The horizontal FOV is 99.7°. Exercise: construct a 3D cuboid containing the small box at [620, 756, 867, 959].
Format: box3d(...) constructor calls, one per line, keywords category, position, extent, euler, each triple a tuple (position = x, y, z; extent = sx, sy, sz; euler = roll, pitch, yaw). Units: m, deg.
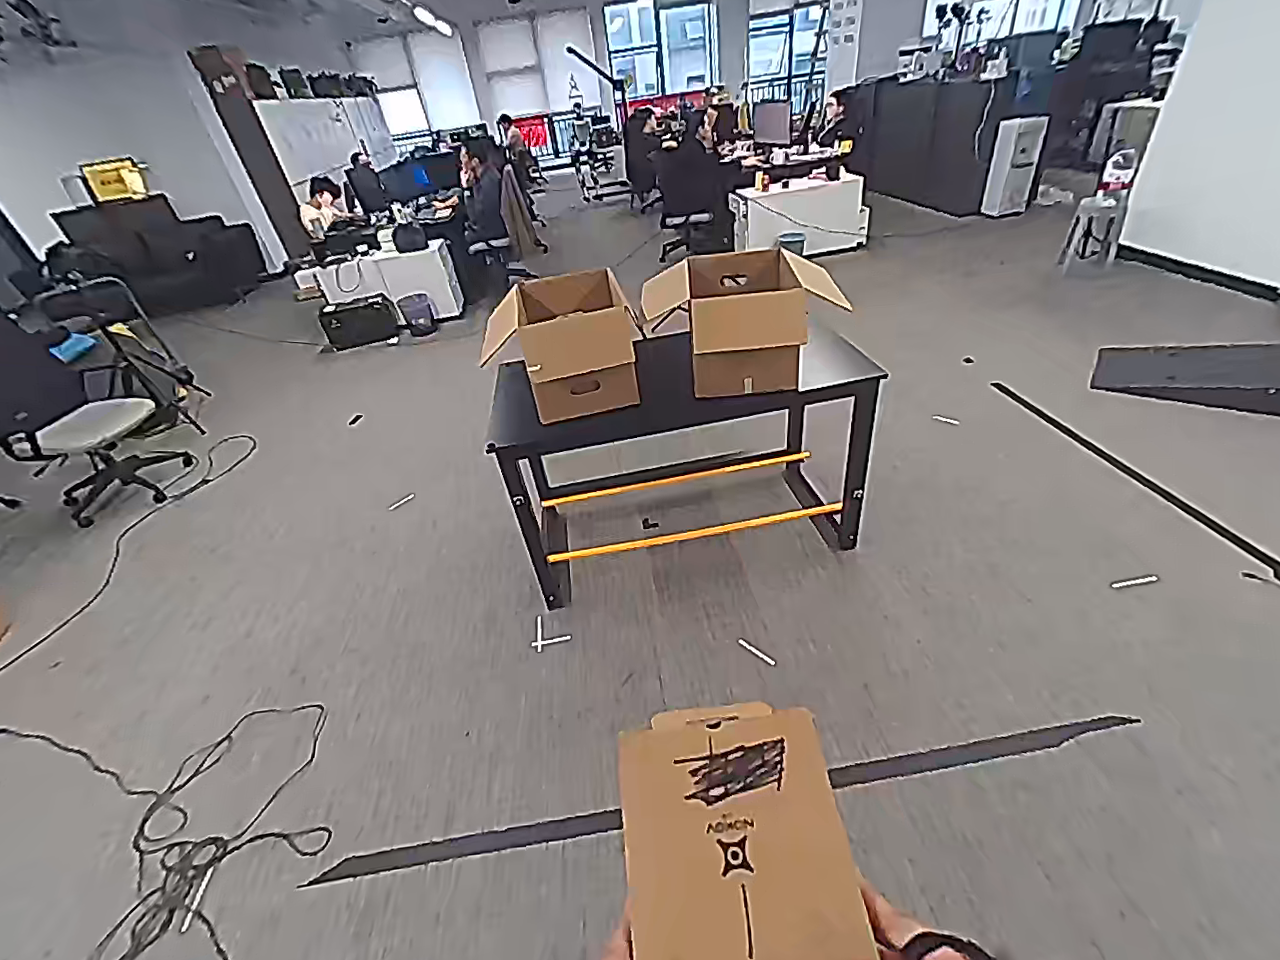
box3d(category="small box", position=(0.074, 0.354, 0.455), extent=(0.168, 0.176, 0.179), euler=(-7, 52, -1))
